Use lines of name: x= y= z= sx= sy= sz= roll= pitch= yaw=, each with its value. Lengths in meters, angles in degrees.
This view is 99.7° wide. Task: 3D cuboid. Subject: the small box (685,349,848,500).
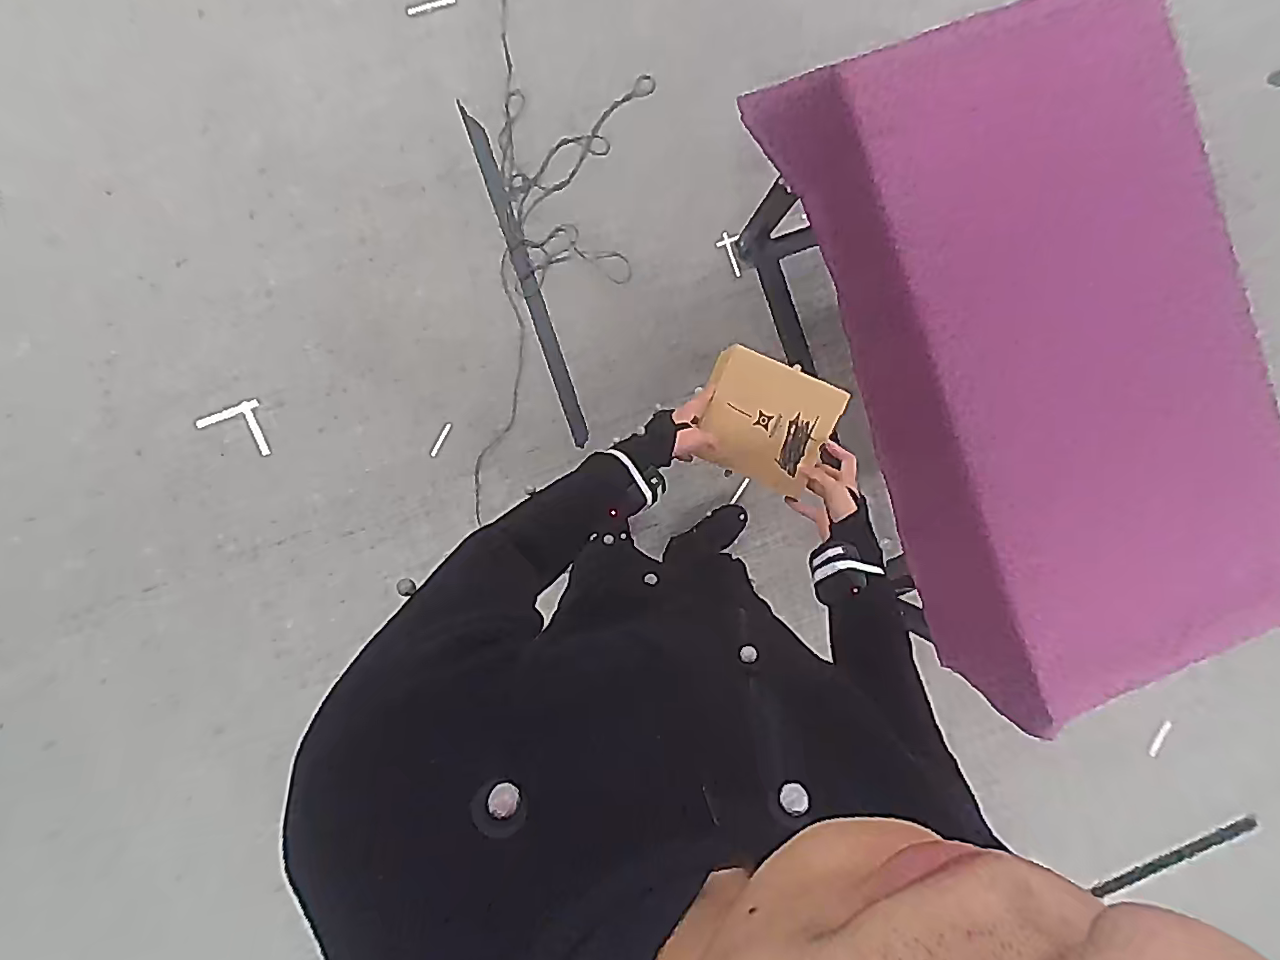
small box: x=0.182 y=-0.089 z=0.838 sx=0.179 sy=0.176 sz=0.168 roll=23 pitch=98 yaw=-2
